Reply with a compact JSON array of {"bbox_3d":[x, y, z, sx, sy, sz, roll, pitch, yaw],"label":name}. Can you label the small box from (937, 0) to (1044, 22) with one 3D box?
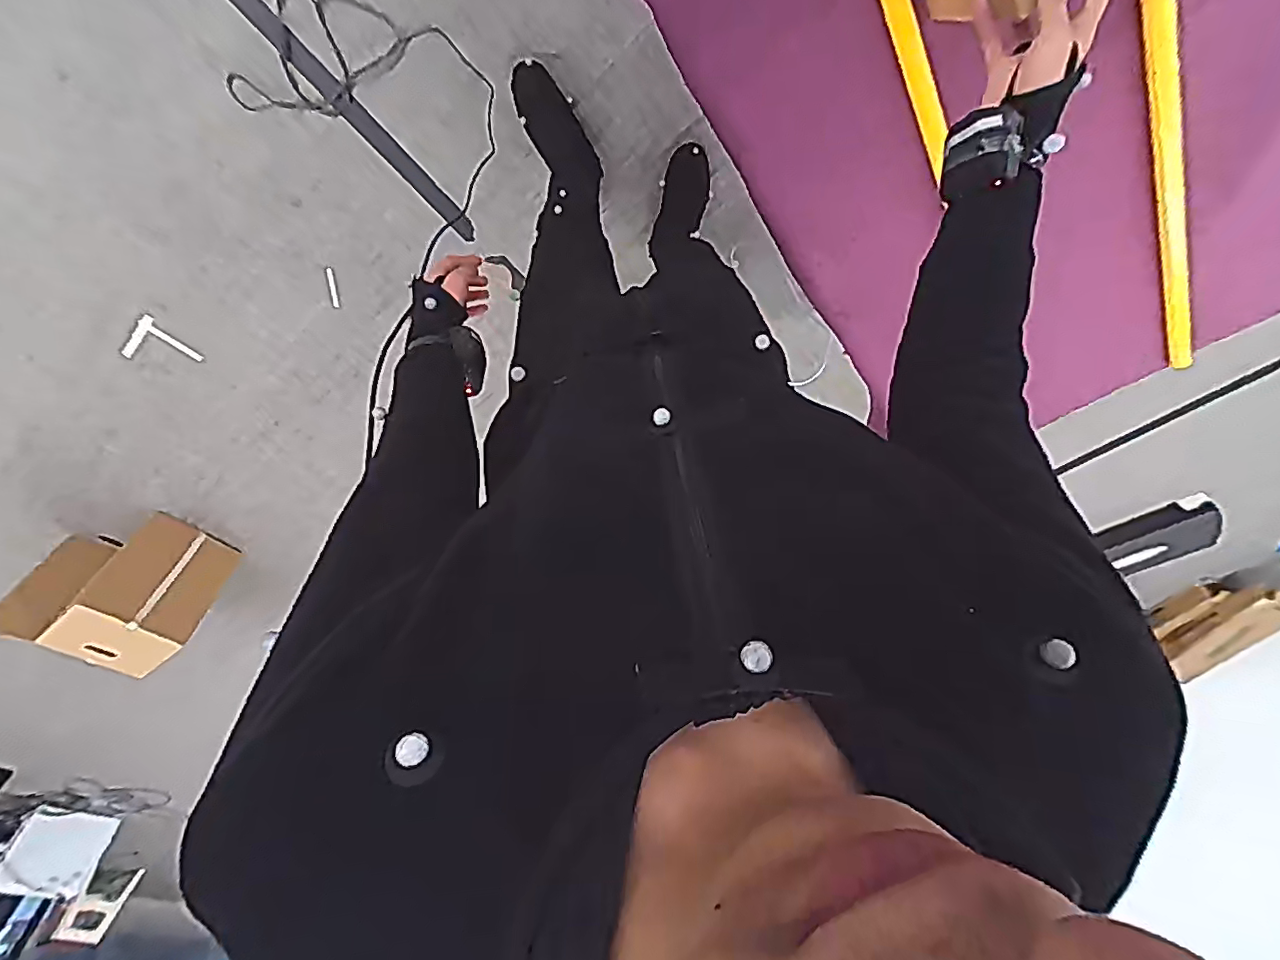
[{"bbox_3d":[0.321,-0.531,0.439,0.168,0.176,0.179,-35,126,24],"label":"small box"}]
